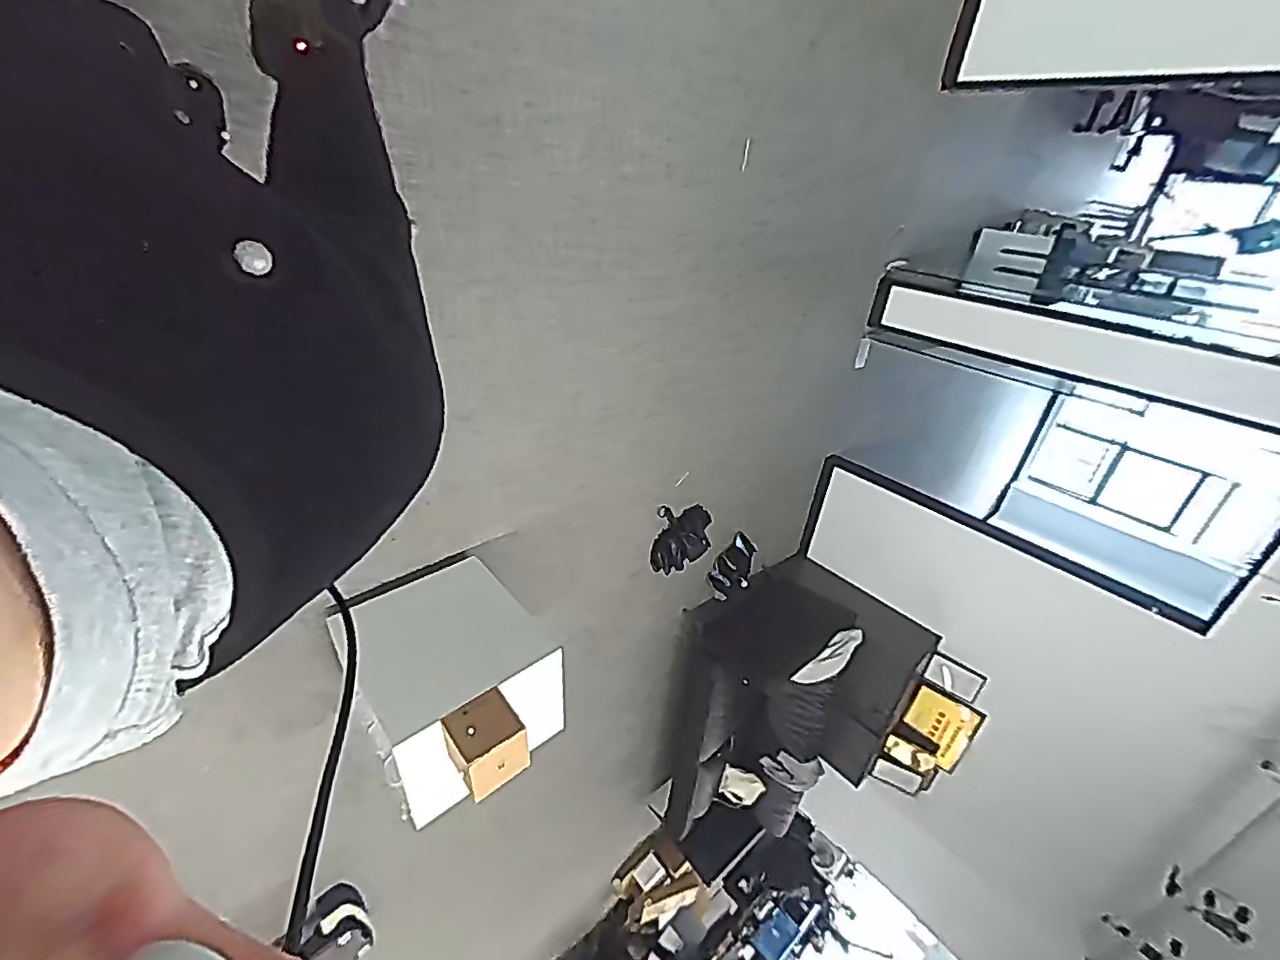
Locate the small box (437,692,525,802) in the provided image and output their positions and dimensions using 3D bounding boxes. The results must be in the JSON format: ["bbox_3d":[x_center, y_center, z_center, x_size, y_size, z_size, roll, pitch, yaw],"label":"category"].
[{"bbox_3d":[-0.425,0.702,1.447,0.168,0.176,0.179,-23,133,-35],"label":"small box"}]
